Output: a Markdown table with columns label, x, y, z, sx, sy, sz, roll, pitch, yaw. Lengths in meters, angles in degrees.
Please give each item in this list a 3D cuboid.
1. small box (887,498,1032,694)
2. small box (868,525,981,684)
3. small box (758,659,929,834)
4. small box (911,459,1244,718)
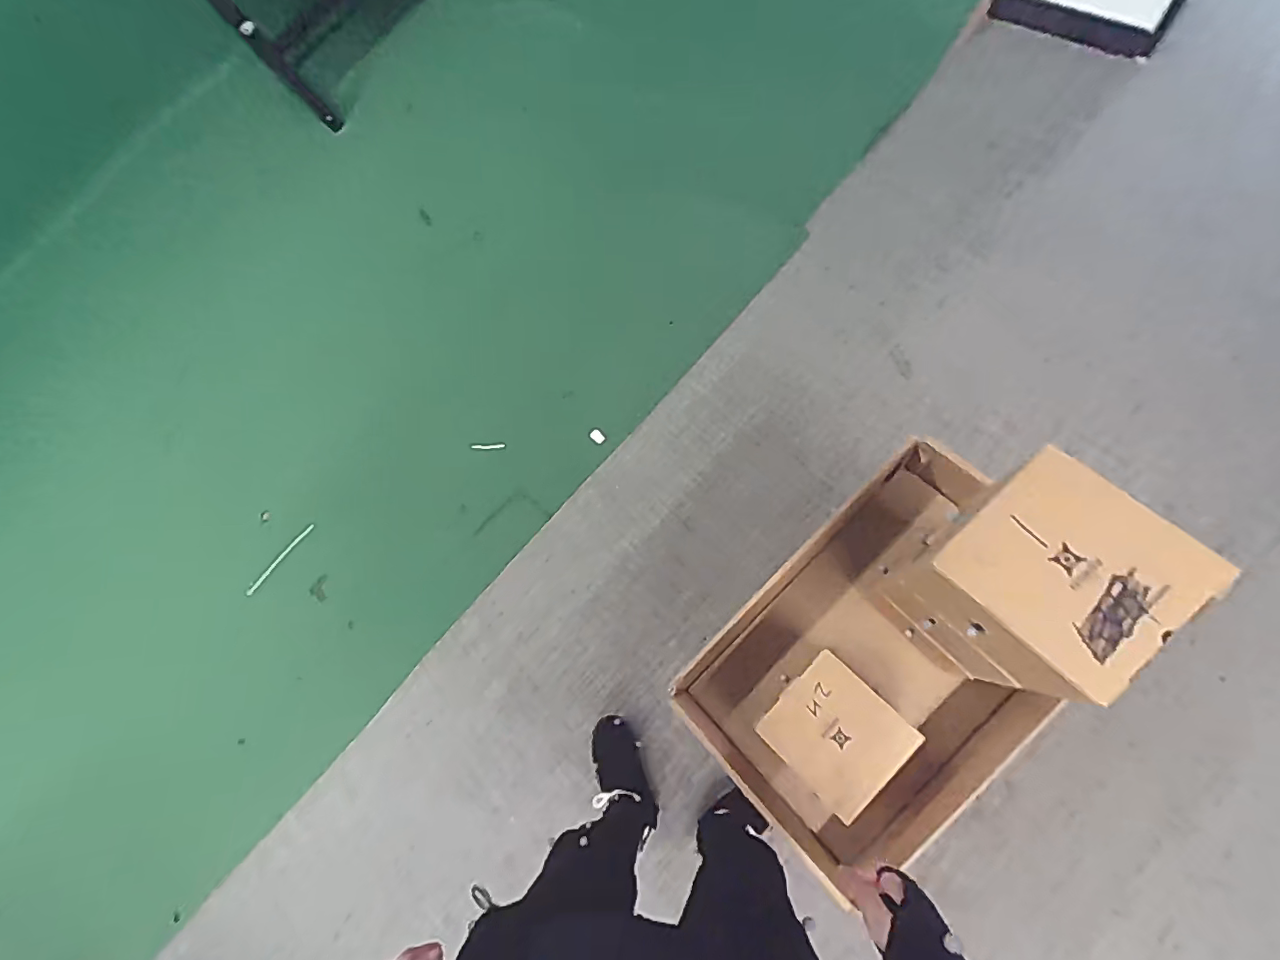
| label | x | y | z | sx | sy | sz | roll | pitch | yaw |
| --- | --- | --- | --- | --- | --- | --- | --- | --- | --- |
| small box | 0.460 | 0.156 | 0.717 | 0.168 | 0.176 | 0.179 | -44 | 68 | 0 |
| small box | 0.496 | 0.202 | 0.869 | 0.168 | 0.176 | 0.179 | -43 | 69 | -1 |
| small box | 0.307 | 0.400 | 0.851 | 0.168 | 0.176 | 0.179 | -45 | 69 | -3 |
| small box | 0.421 | 0.111 | 0.562 | 0.168 | 0.176 | 0.179 | -44 | 68 | -1 |
